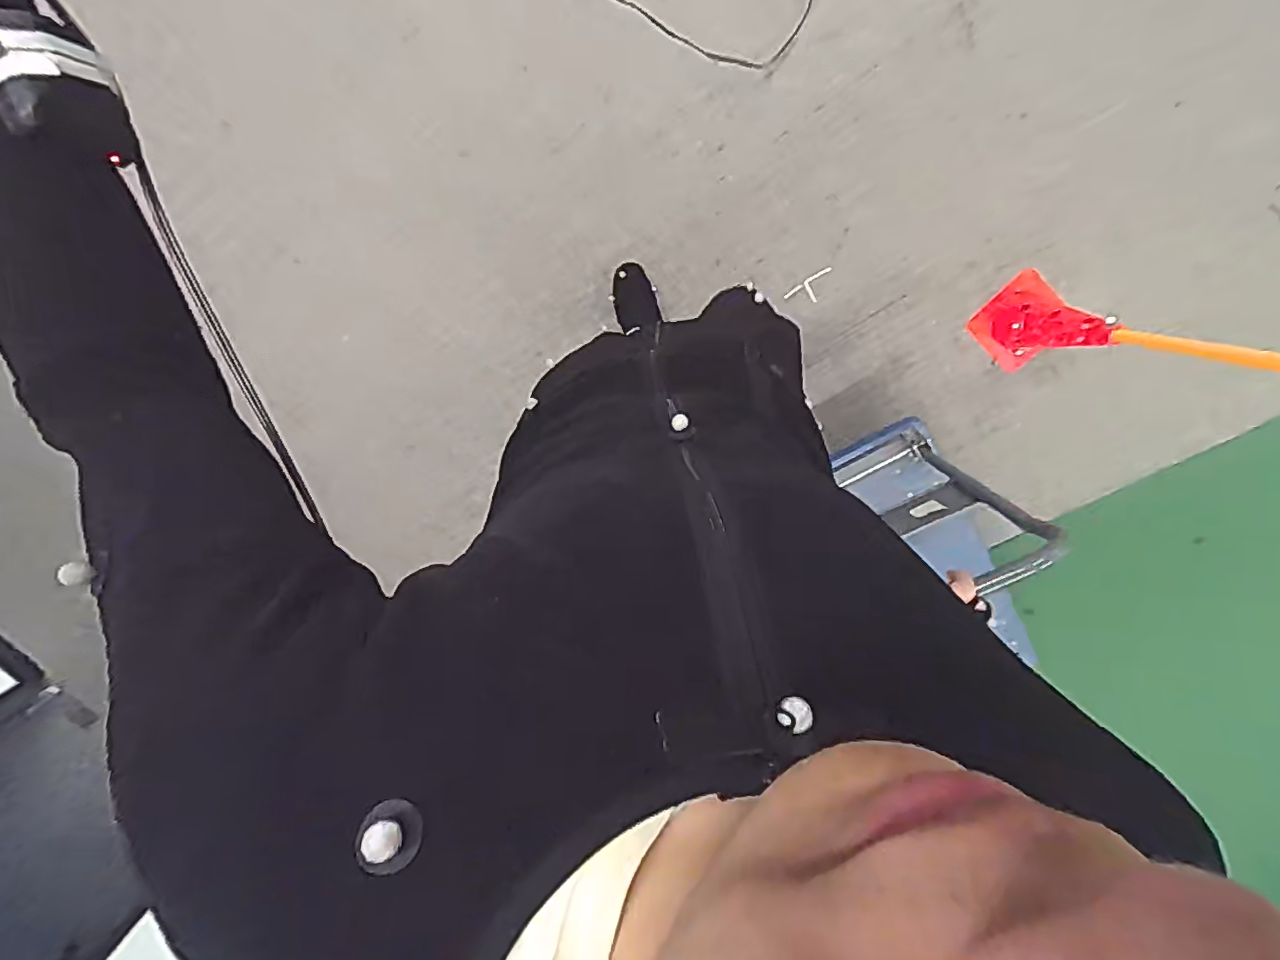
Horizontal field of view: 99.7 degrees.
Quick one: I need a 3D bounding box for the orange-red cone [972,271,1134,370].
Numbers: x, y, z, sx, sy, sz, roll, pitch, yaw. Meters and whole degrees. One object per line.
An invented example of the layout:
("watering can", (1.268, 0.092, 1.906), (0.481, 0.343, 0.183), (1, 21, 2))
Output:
("orange-red cone", (0.989, -0.355, 1.254), (0.198, 0.360, 0.199), (41, 107, -11))
